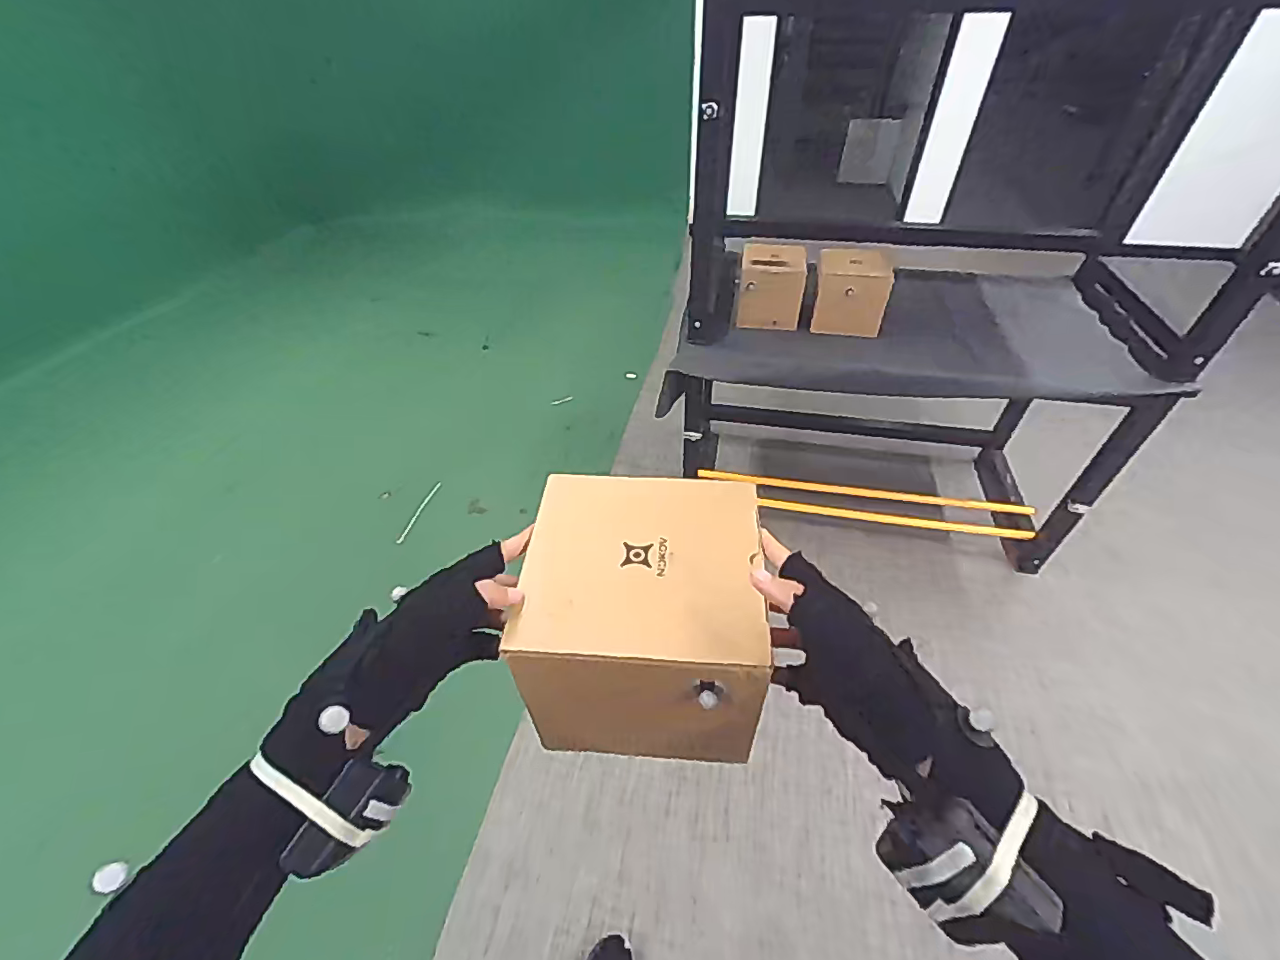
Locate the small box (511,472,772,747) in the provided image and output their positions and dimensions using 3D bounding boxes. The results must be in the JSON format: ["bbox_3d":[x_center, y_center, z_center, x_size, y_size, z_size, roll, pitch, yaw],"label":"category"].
[{"bbox_3d":[0.008,0.111,0.464,0.179,0.176,0.168,3,44,4],"label":"small box"}]
